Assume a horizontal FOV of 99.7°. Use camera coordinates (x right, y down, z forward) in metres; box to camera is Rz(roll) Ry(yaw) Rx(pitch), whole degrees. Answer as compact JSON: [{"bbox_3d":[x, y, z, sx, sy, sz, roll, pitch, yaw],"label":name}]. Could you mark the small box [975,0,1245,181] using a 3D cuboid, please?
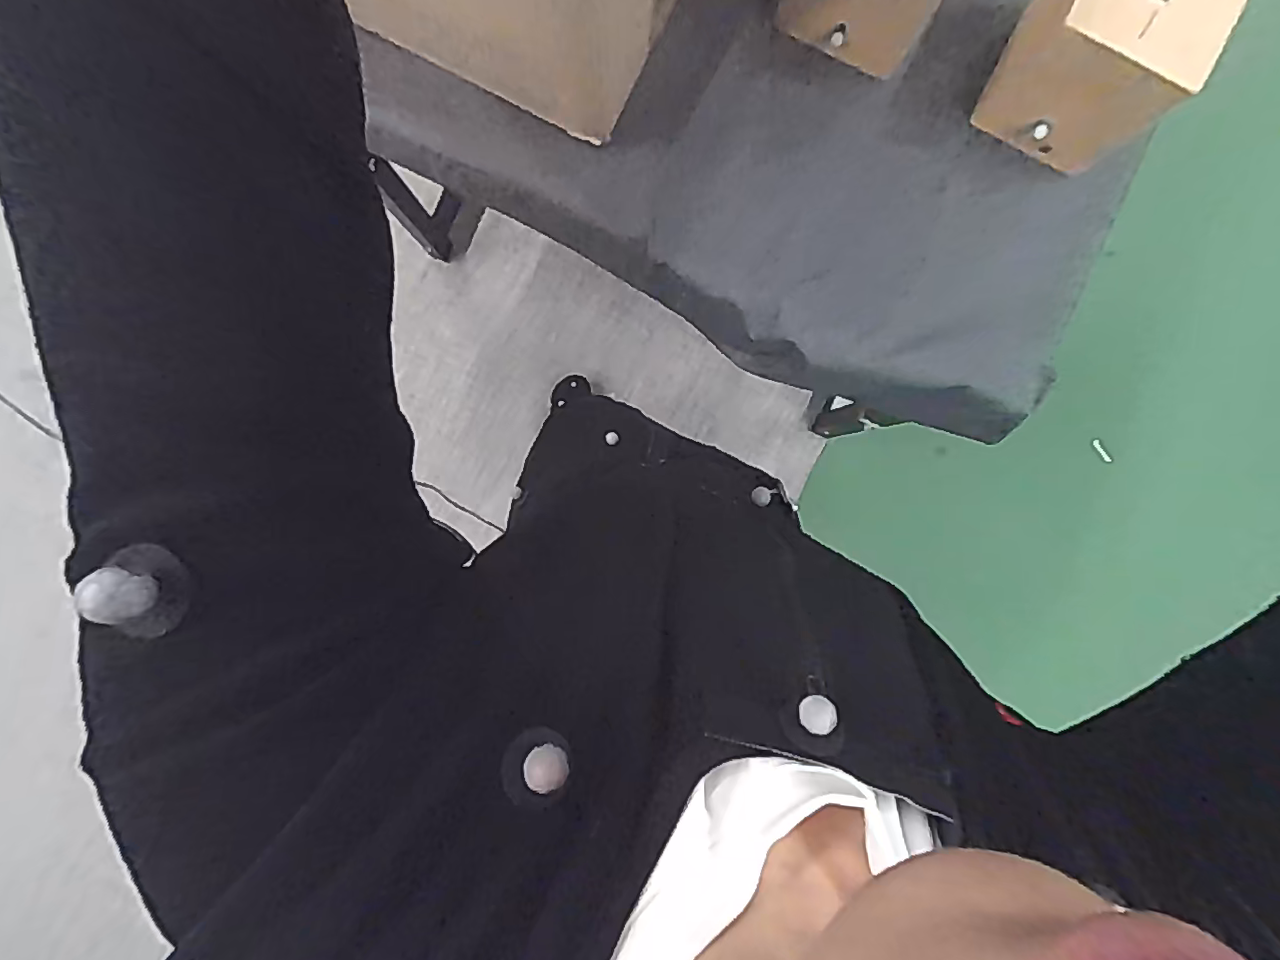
[{"bbox_3d":[0.562,-0.521,0.666,0.168,0.176,0.179,28,90,-1],"label":"small box"}]
